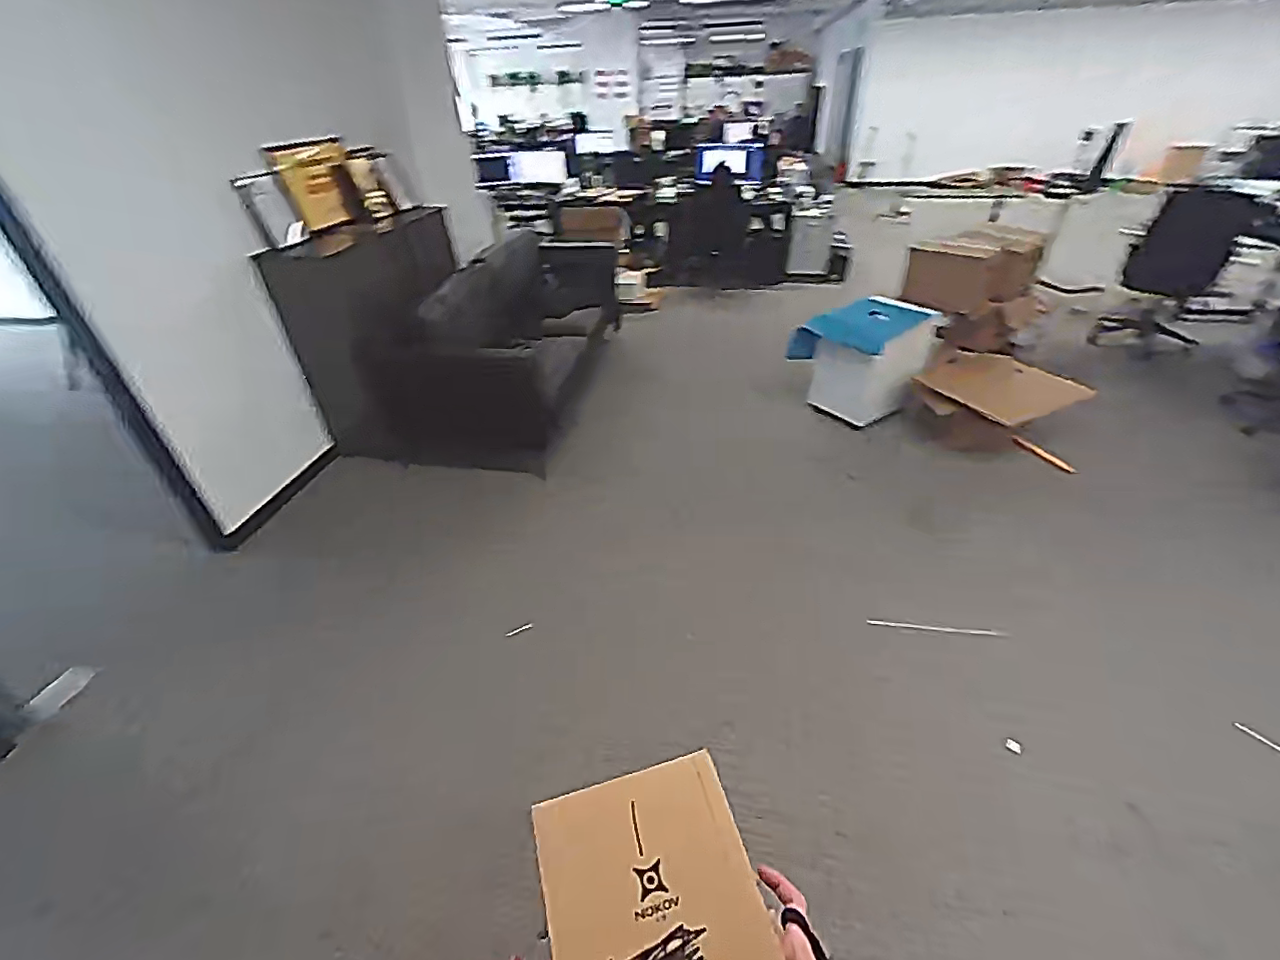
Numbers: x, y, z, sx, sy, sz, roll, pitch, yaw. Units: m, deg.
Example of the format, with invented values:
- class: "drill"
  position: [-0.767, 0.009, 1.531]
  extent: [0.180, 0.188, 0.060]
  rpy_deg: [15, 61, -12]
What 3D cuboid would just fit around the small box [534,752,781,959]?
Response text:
- class: "small box"
  position: [0.009, 0.377, 0.482]
  extent: [0.168, 0.176, 0.179]
  rpy_deg: [-11, 49, -11]
